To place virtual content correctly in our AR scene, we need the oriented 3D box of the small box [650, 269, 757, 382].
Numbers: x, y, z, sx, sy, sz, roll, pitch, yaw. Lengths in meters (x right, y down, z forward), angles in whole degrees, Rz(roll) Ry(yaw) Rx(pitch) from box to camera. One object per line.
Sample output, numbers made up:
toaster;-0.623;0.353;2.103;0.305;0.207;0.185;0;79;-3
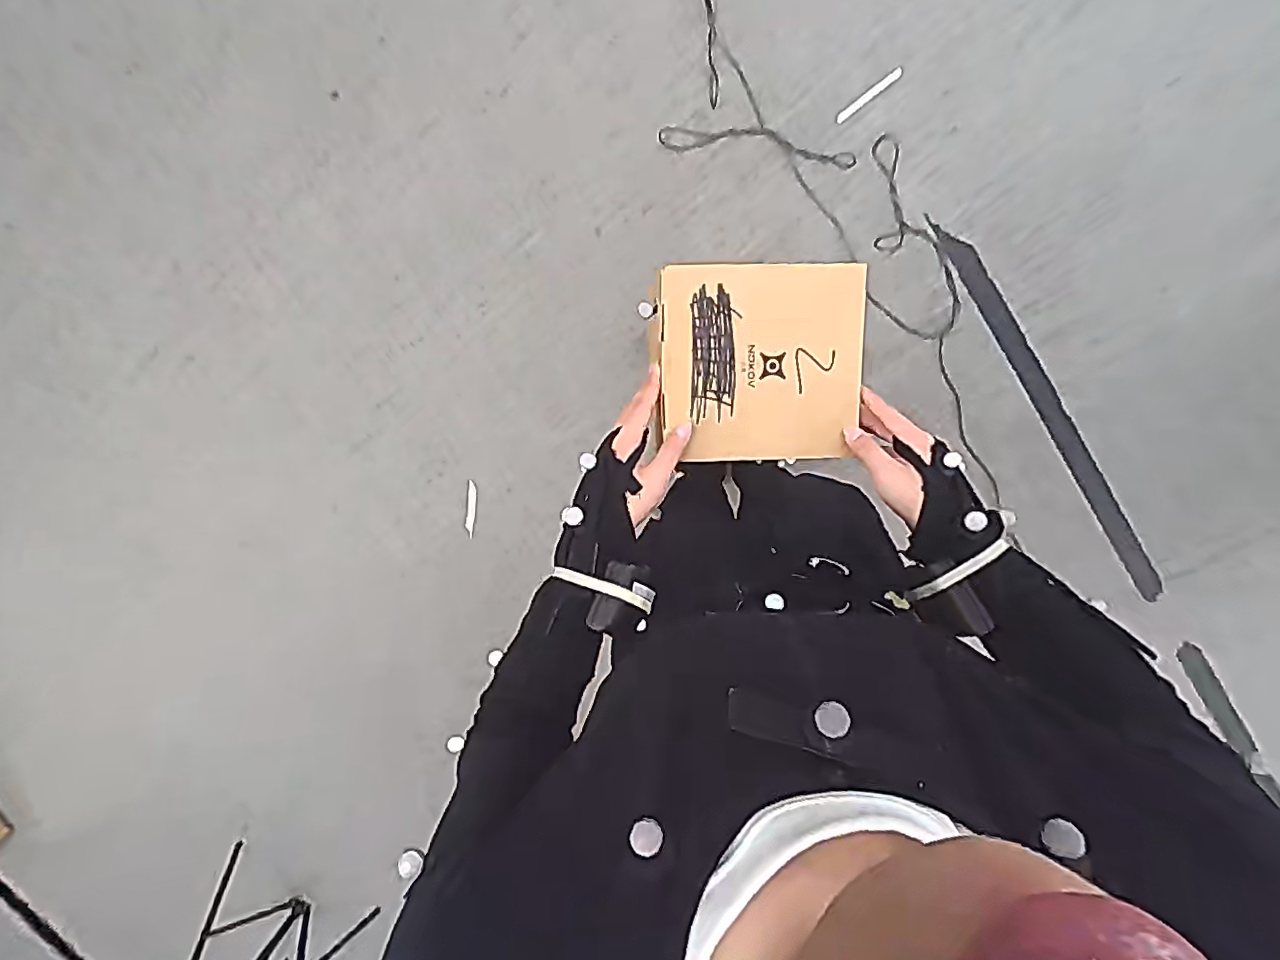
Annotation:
small box;0.140;-0.333;1.179;0.168;0.176;0.179;-26;101;16
